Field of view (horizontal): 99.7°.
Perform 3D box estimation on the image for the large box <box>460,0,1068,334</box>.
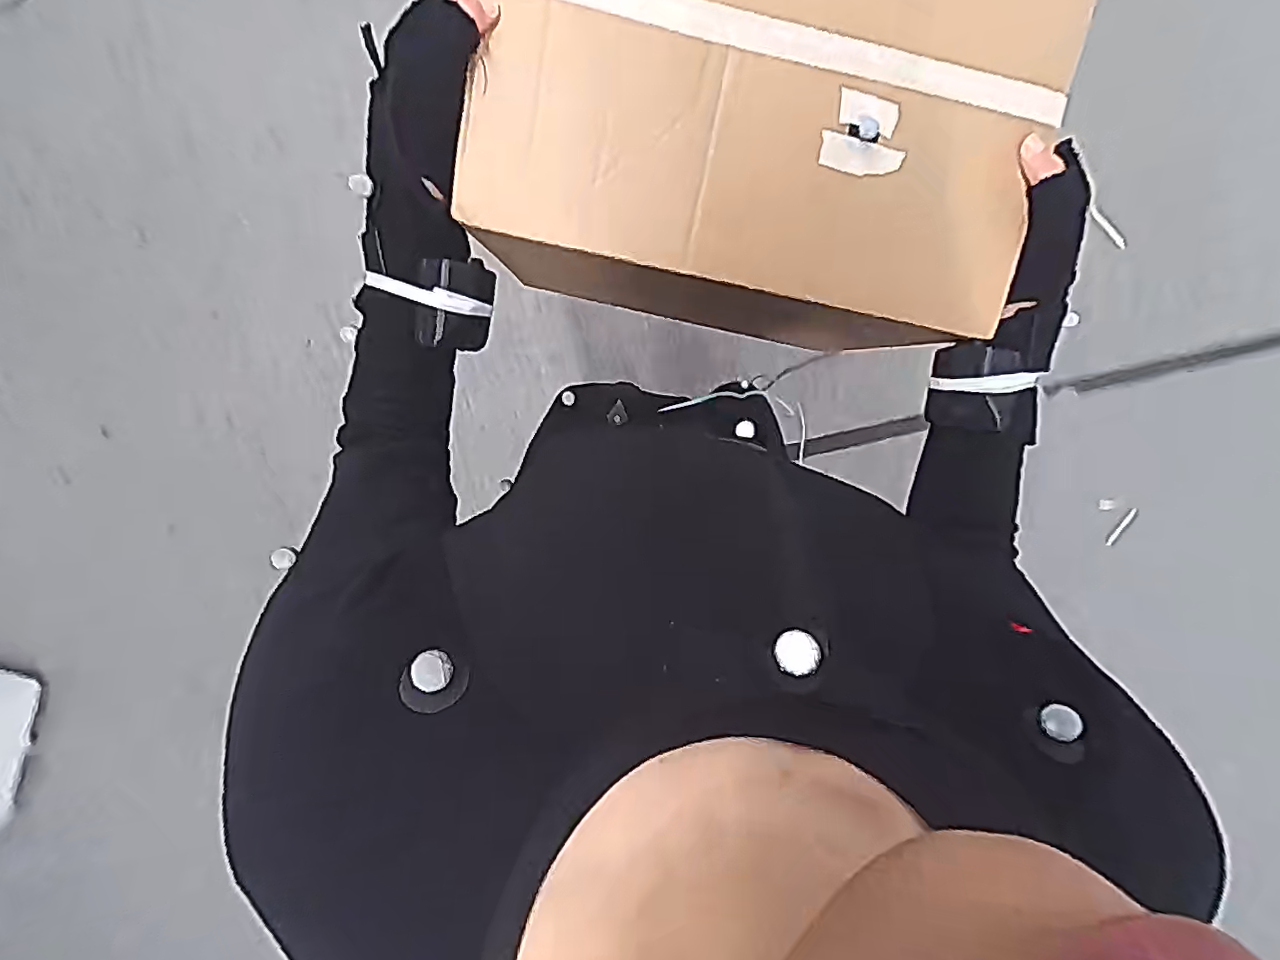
[{"bbox_3d":[0.079,-0.334,0.515,0.408,0.320,0.320,9,102,-6],"label":"large box"}]
